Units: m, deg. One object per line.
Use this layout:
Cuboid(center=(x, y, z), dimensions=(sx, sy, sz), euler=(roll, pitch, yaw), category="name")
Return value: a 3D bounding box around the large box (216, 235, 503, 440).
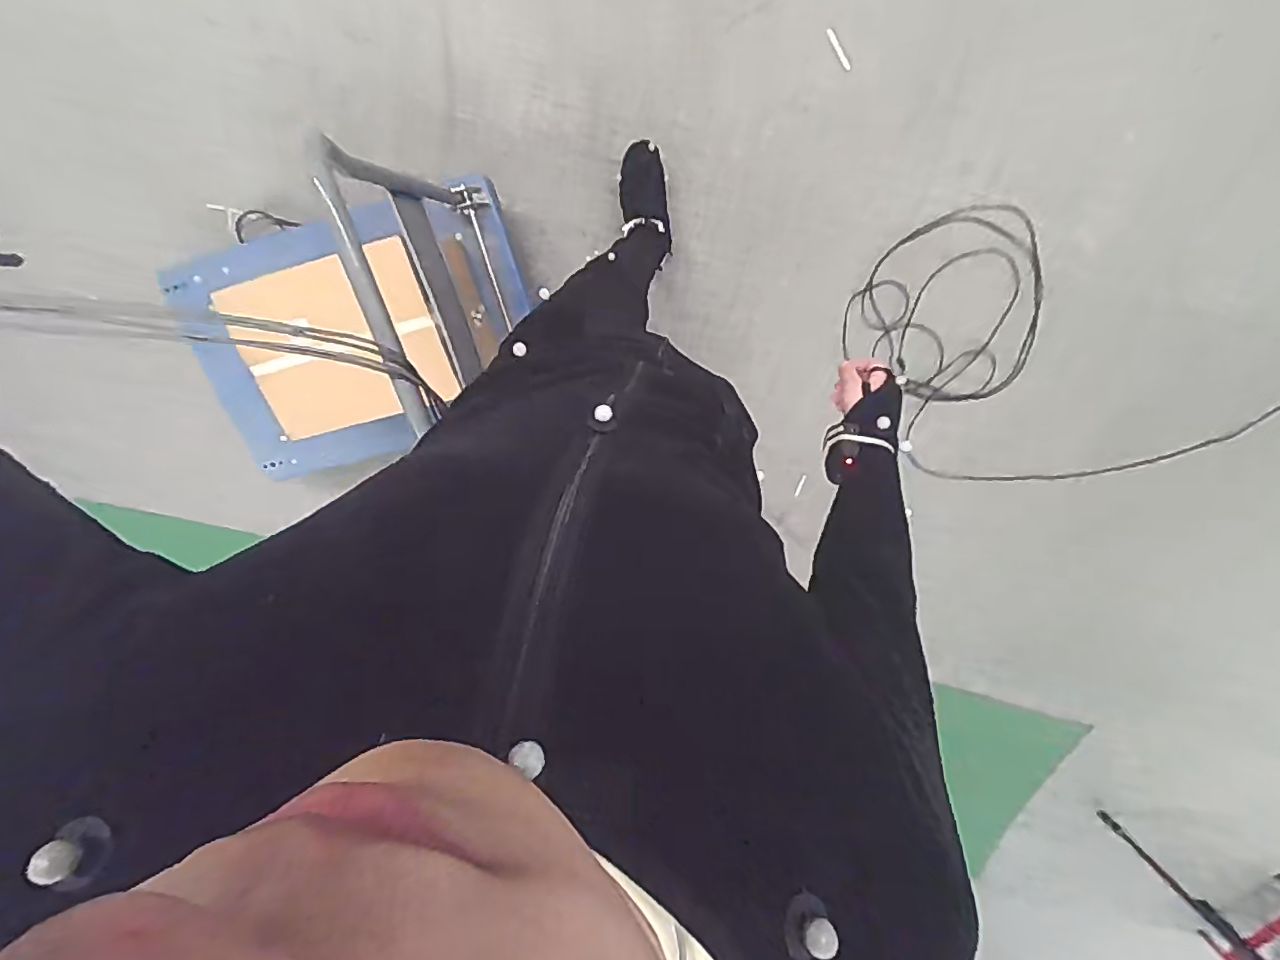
Cuboid(center=(-0.575, -0.324, 1.195), dimensions=(0.408, 0.320, 0.320), euler=(-12, 112, 8), category="large box")
